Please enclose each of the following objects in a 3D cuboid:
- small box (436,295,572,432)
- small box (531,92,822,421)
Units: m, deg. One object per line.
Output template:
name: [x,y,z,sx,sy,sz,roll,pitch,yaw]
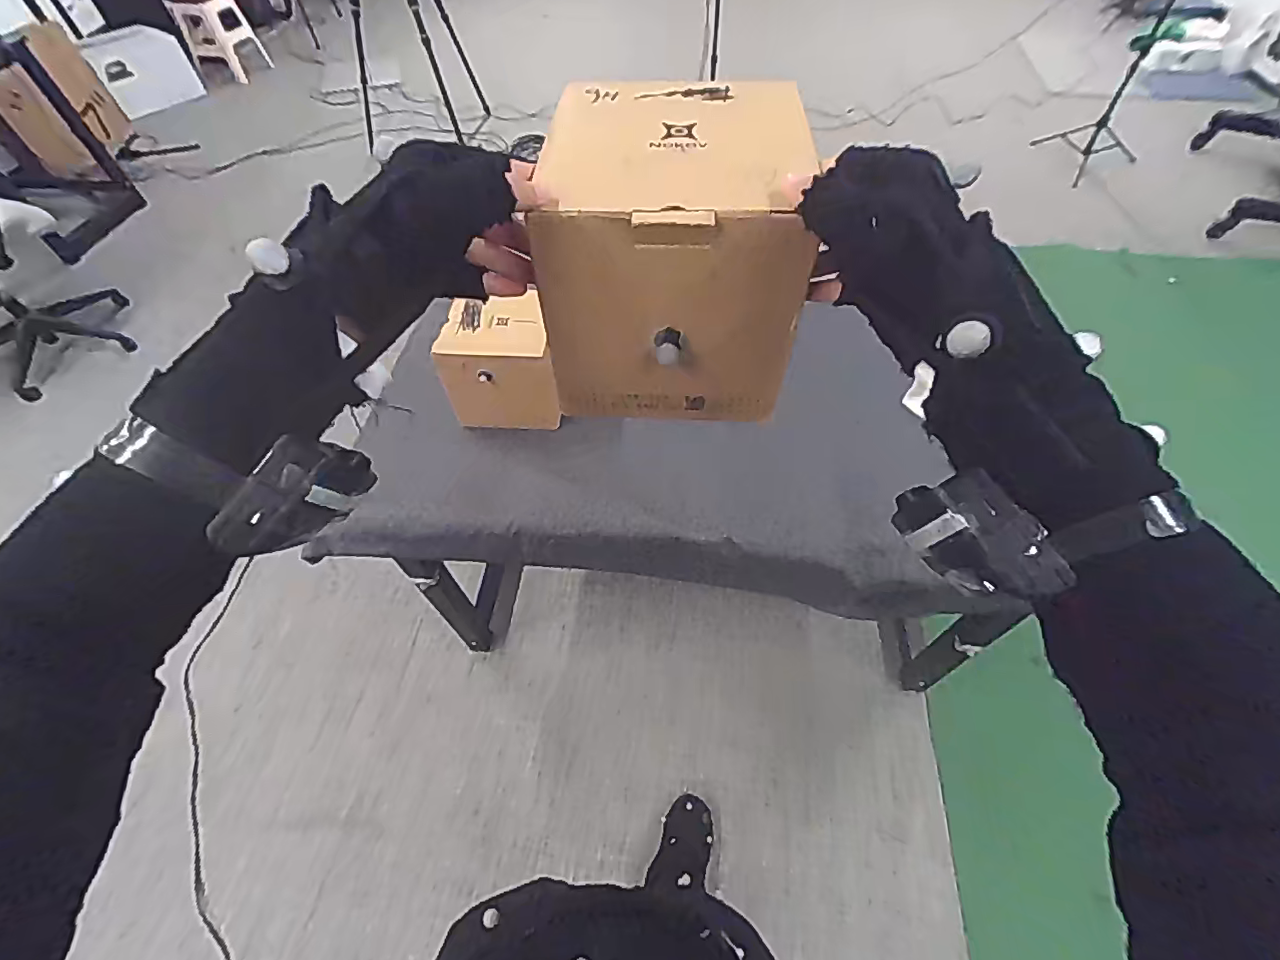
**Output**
small box: [-0.220,-0.198,0.933,0.179,0.176,0.168,3,54,3]
small box: [0.028,-0.161,0.409,0.168,0.176,0.179,3,56,3]
